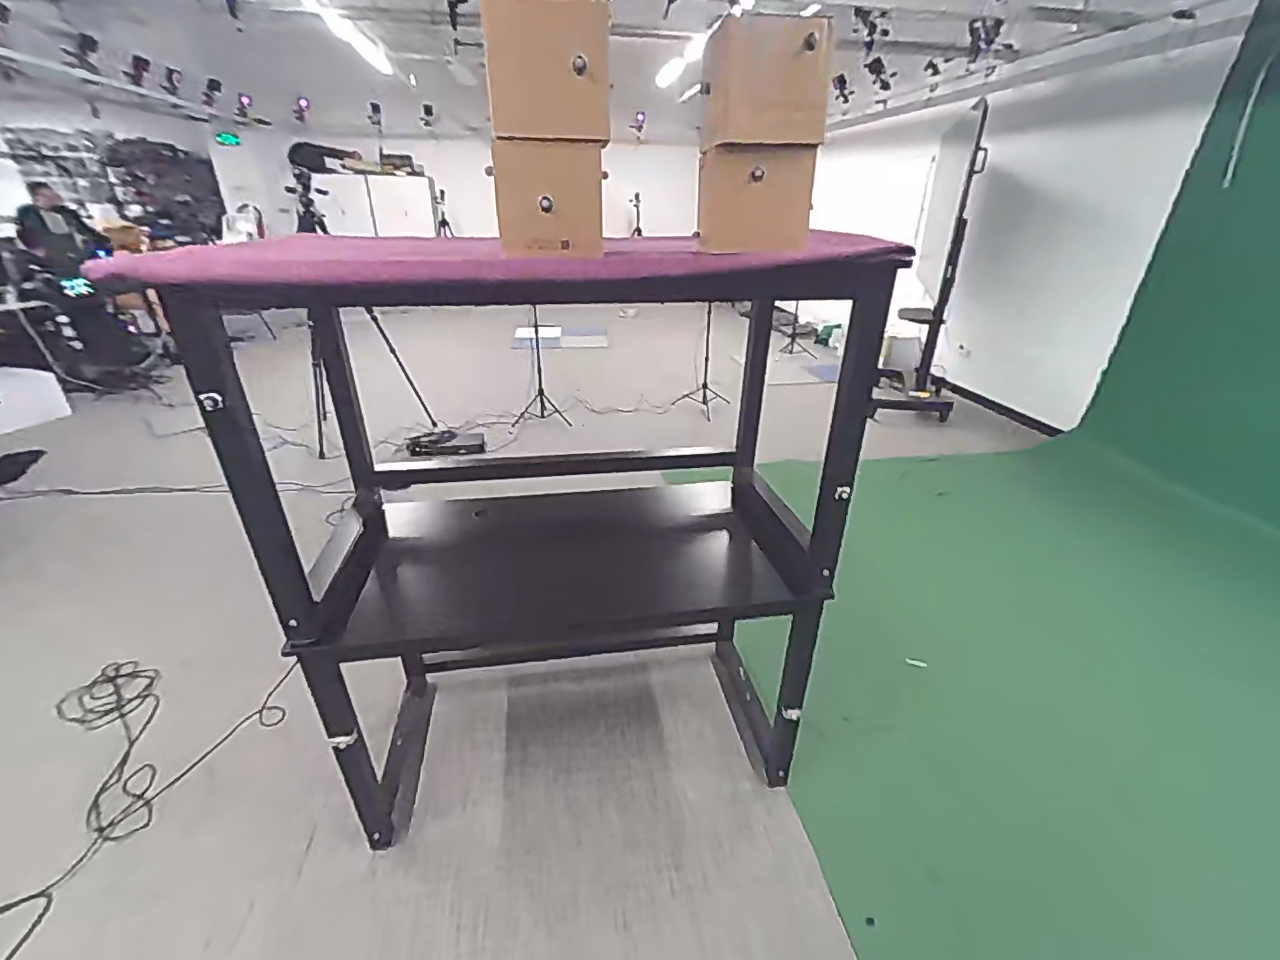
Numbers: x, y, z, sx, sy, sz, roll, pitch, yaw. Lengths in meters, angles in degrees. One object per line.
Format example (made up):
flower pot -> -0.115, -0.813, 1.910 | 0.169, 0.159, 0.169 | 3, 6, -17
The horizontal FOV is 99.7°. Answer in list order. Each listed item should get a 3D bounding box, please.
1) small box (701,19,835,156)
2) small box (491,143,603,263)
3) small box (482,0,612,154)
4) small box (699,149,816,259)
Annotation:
small box -> 0.203, -0.640, 0.908 | 0.179, 0.176, 0.168 | -3, 26, -7
small box -> -0.150, -0.464, 0.915 | 0.168, 0.176, 0.179 | -2, 27, -7
small box -> -0.135, -0.603, 0.832 | 0.179, 0.176, 0.168 | -3, 27, -6
small box -> 0.203, -0.500, 0.993 | 0.179, 0.176, 0.168 | -1, 26, -3
